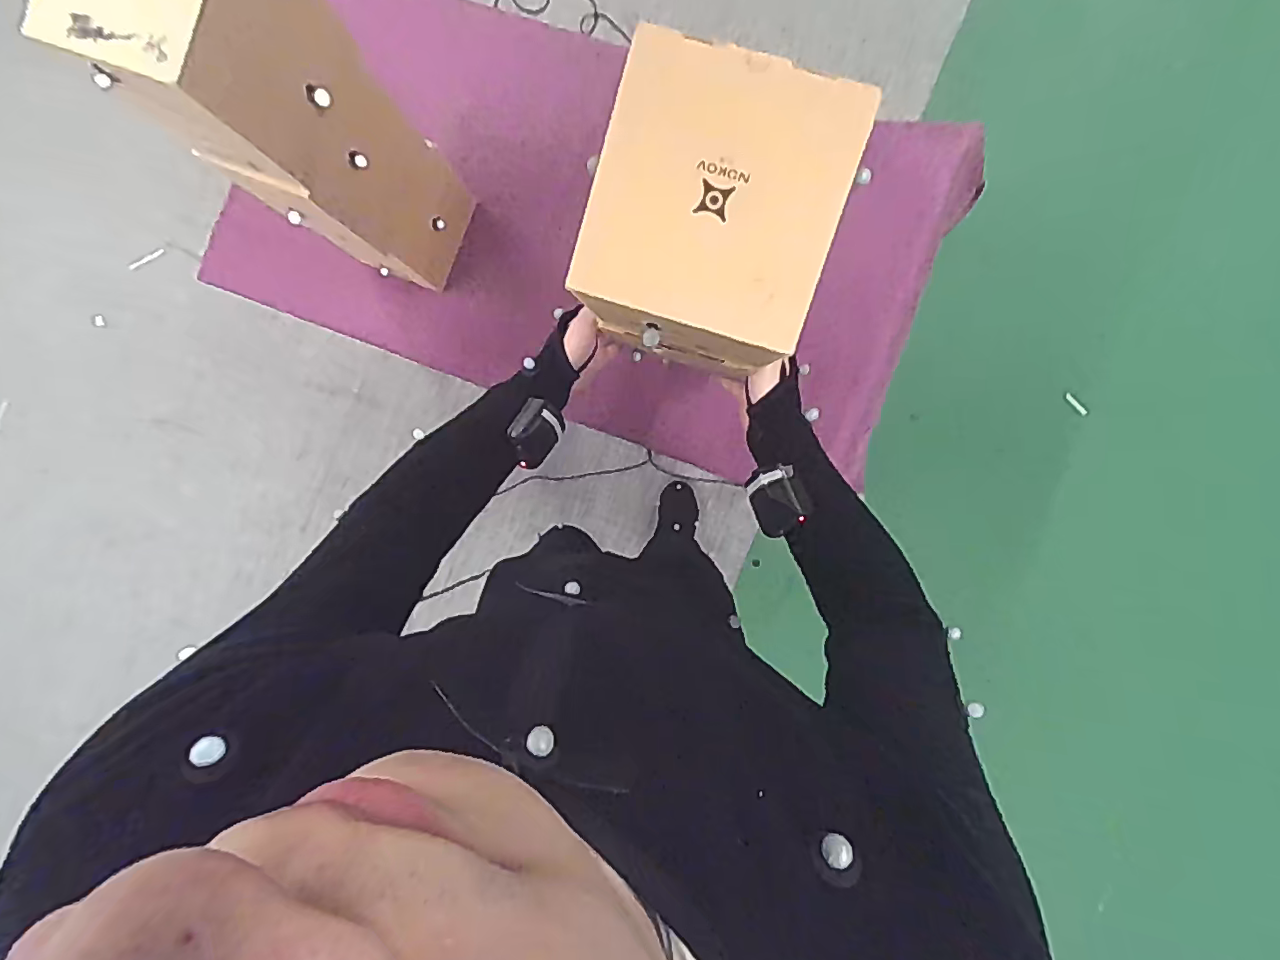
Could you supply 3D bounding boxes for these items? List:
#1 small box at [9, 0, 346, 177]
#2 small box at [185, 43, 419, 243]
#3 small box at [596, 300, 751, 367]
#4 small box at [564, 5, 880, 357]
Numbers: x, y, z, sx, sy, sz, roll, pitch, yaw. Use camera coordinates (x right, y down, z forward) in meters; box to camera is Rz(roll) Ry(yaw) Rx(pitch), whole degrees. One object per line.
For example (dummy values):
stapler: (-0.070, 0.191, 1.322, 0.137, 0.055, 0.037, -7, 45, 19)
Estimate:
small box: (-0.433, -0.450, 0.539, 0.168, 0.176, 0.179, 22, 92, 6)
small box: (-0.420, -0.442, 0.703, 0.168, 0.176, 0.179, 23, 92, 5)
small box: (0.065, -0.231, 0.592, 0.168, 0.176, 0.179, 17, 98, 3)
small box: (0.057, -0.207, 0.432, 0.168, 0.176, 0.179, 18, 99, 3)
